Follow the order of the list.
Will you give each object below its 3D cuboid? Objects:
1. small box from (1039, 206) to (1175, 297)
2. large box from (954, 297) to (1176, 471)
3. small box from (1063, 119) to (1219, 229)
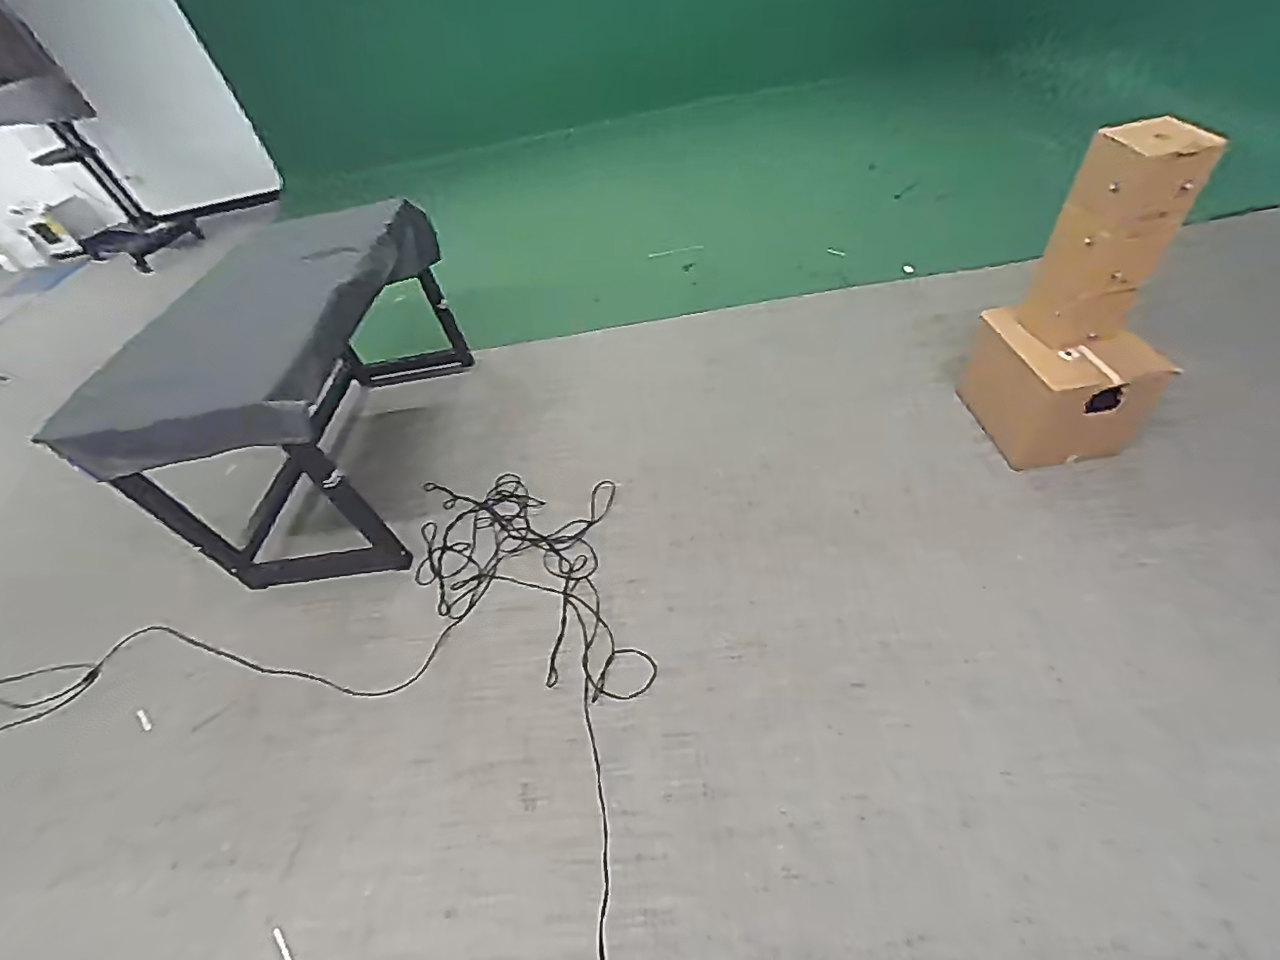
[{"bbox_3d":[1.164,-0.591,1.370,0.168,0.176,0.179,-10,48,4],"label":"small box"},{"bbox_3d":[1.235,-0.292,1.639,0.320,0.320,0.408,-11,48,5],"label":"large box"},{"bbox_3d":[1.140,-0.699,1.250,0.168,0.176,0.179,-10,47,3],"label":"small box"}]
